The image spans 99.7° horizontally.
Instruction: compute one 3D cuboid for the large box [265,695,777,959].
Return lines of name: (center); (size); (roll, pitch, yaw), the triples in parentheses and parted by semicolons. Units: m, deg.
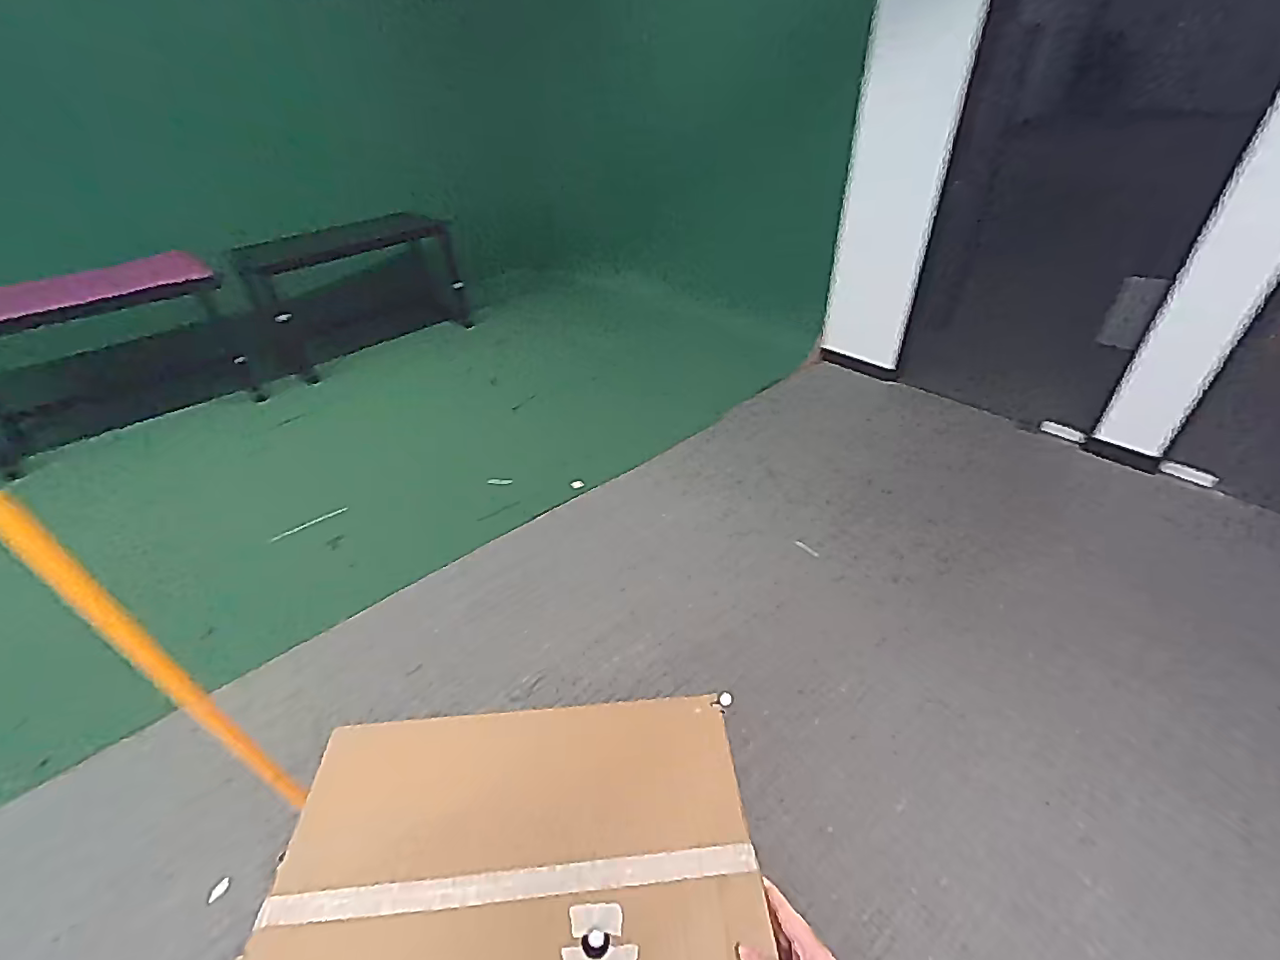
large box: (-0.099, 0.459, 0.554); (0.408, 0.320, 0.320); (-2, 37, -4)
